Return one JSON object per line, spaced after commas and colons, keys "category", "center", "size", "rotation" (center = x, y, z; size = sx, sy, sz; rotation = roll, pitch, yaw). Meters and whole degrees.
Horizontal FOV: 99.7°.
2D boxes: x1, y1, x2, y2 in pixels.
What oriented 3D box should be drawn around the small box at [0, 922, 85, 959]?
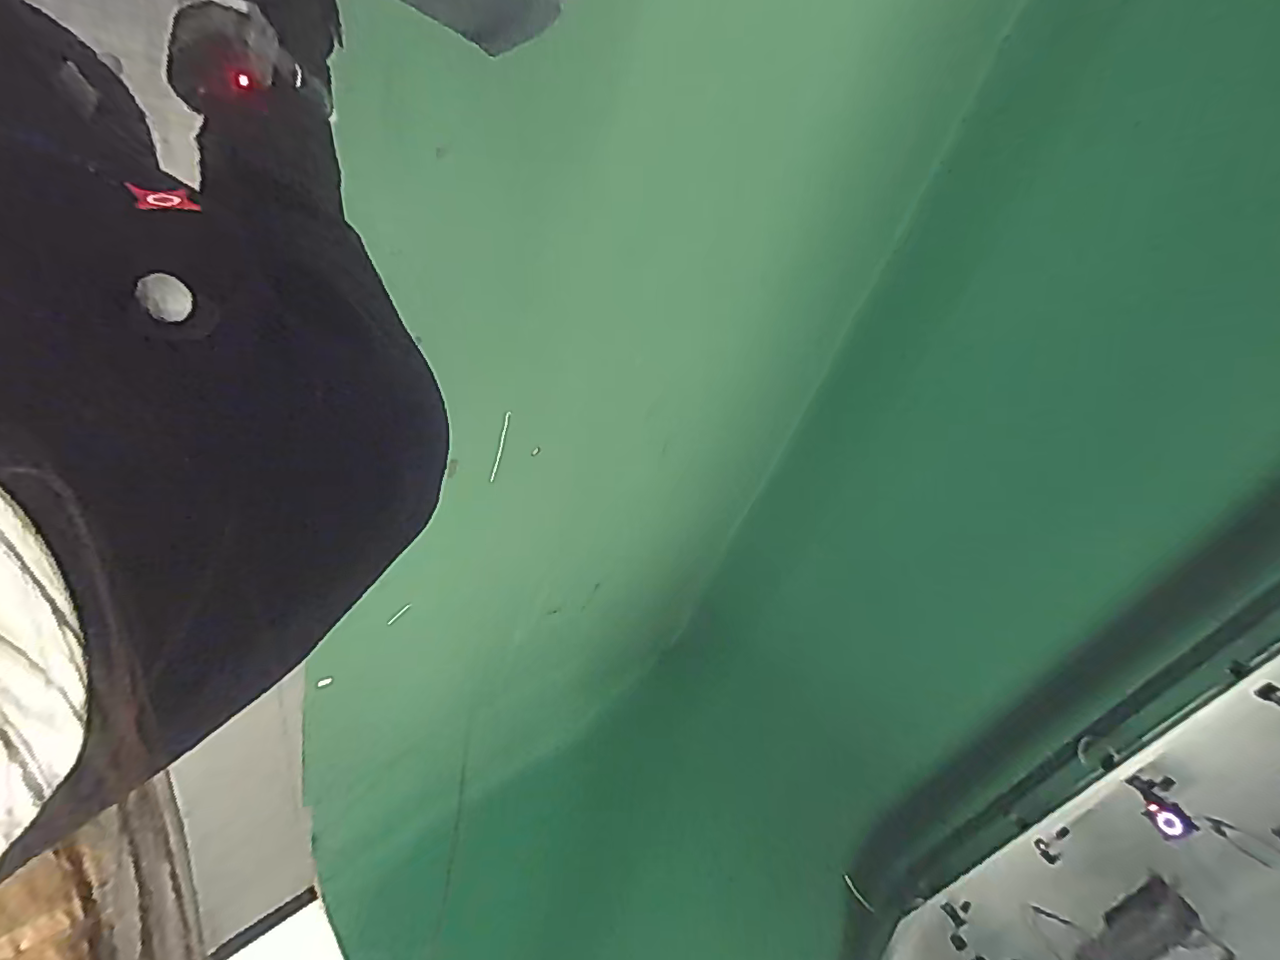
{"category": "small box", "center": [-1.659, 1.384, 1.483], "size": [0.179, 0.176, 0.168], "rotation": [-16, 131, -43]}
